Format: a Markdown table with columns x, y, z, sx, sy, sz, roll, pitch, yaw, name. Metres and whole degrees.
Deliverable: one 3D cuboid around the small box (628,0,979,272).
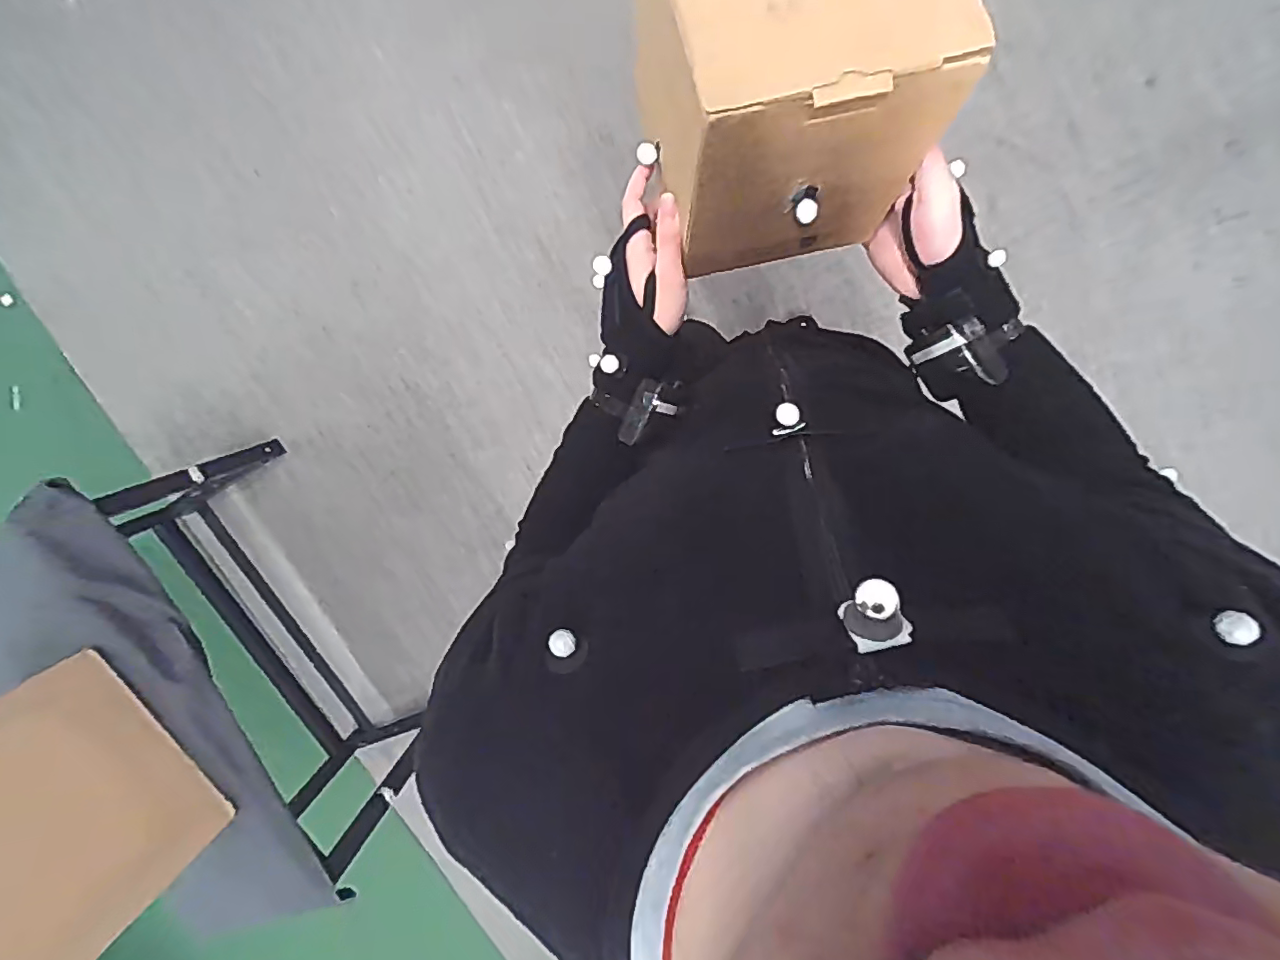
| x | y | z | sx | sy | sz | roll | pitch | yaw | name |
| --- | --- | --- | --- | --- | --- | --- | --- | --- | --- |
| 0.088 | -0.269 | 0.383 | 0.168 | 0.176 | 0.179 | -12 | 81 | -3 | small box |
